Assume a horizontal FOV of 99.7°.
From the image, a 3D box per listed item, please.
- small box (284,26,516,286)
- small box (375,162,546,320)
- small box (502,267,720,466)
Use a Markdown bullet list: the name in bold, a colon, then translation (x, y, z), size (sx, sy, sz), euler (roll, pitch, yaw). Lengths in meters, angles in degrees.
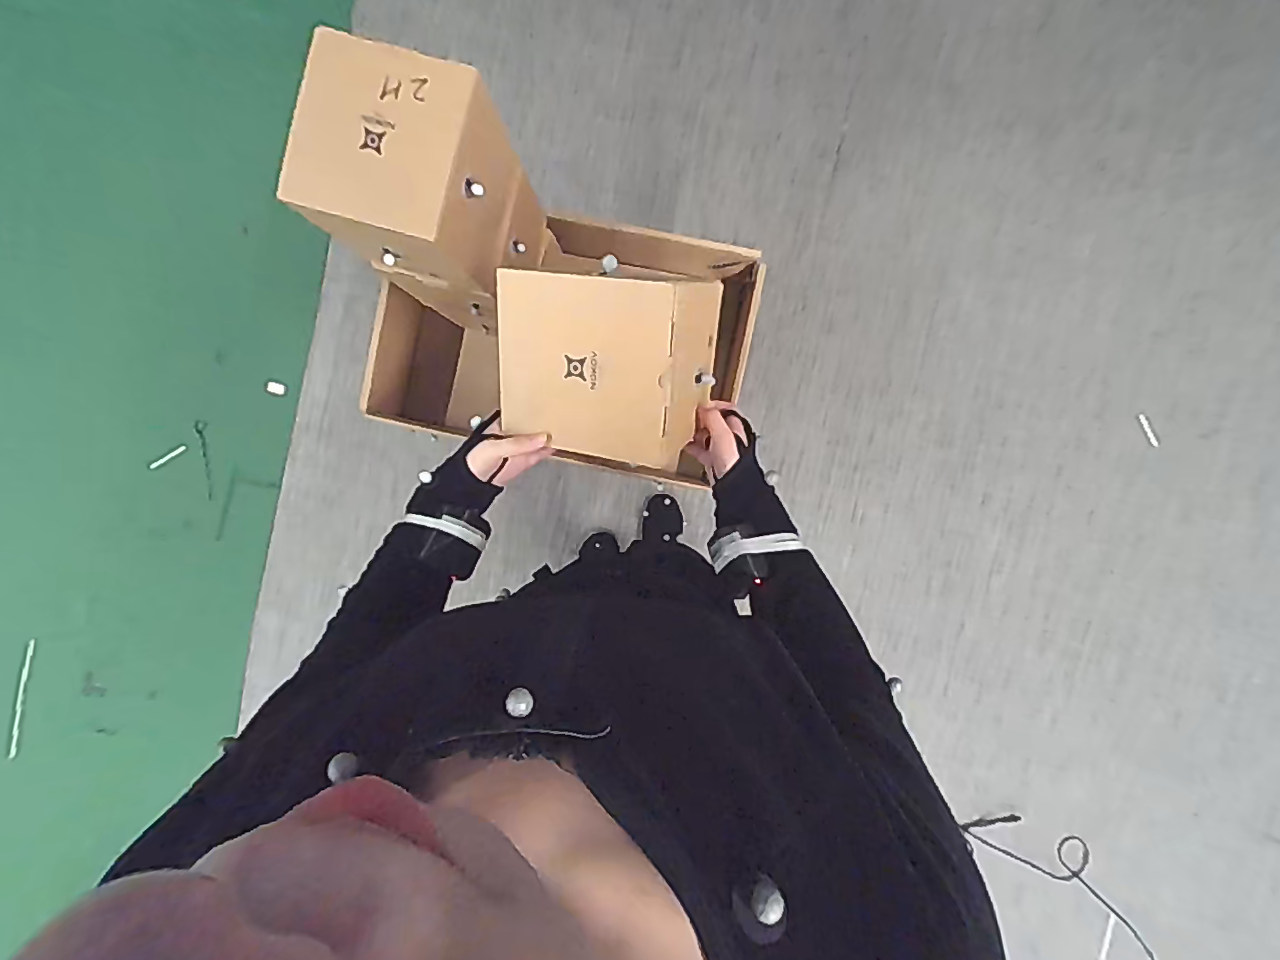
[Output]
- **small box**: translation (-0.253, -0.343, 0.613), size (0.168, 0.176, 0.179), euler (16, 93, -1)
- **small box**: translation (-0.244, -0.343, 0.777), size (0.168, 0.176, 0.179), euler (14, 92, 0)
- **small box**: translation (-0.026, -0.130, 0.574), size (0.179, 0.176, 0.168), euler (11, 113, 16)
